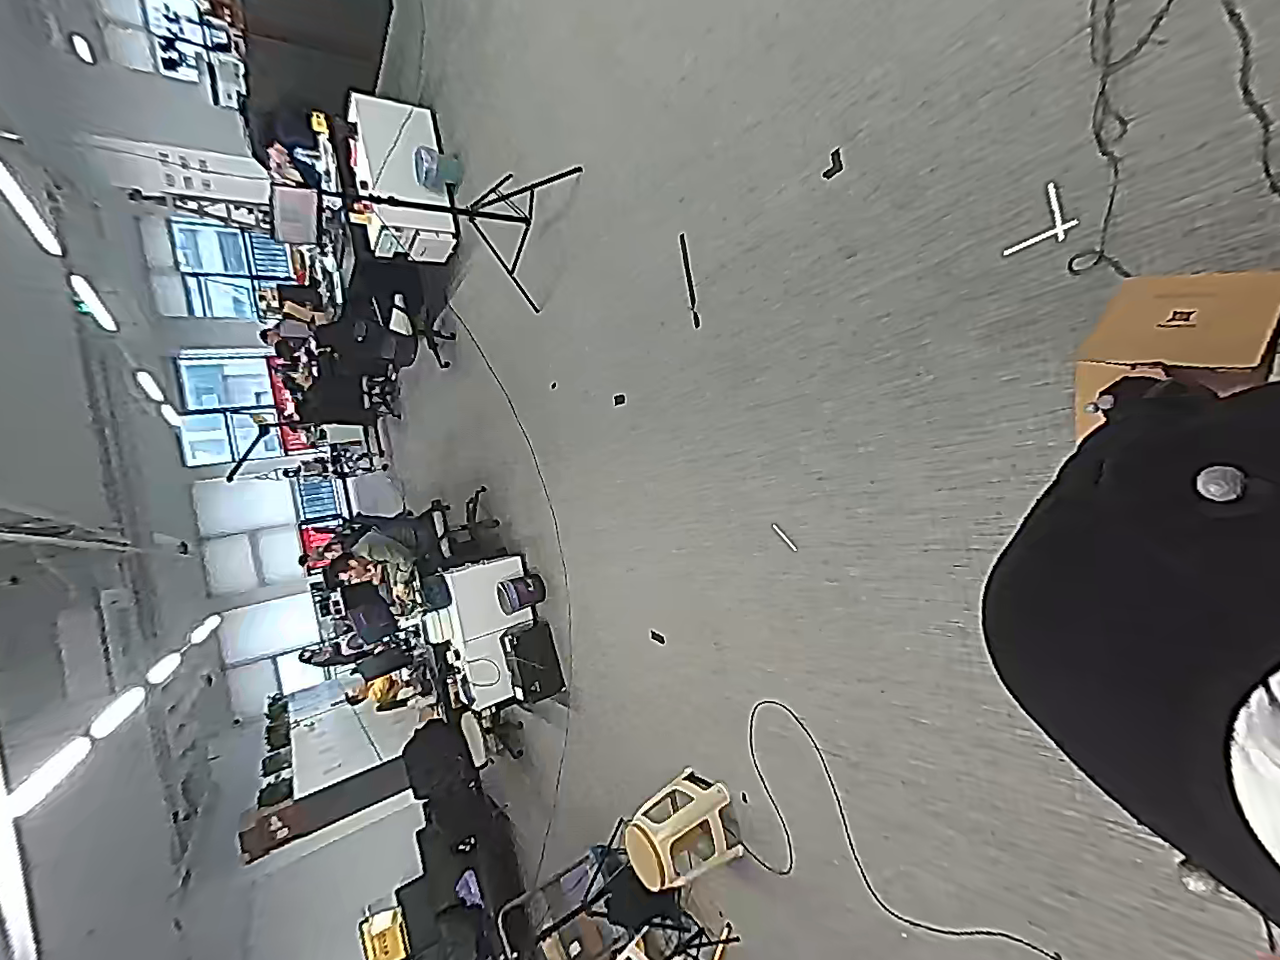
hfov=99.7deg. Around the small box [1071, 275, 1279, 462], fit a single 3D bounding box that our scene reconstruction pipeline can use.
[{"bbox_3d":[0.716,-0.149,0.731,0.168,0.179,0.176,20,154,47],"label":"small box"}]
